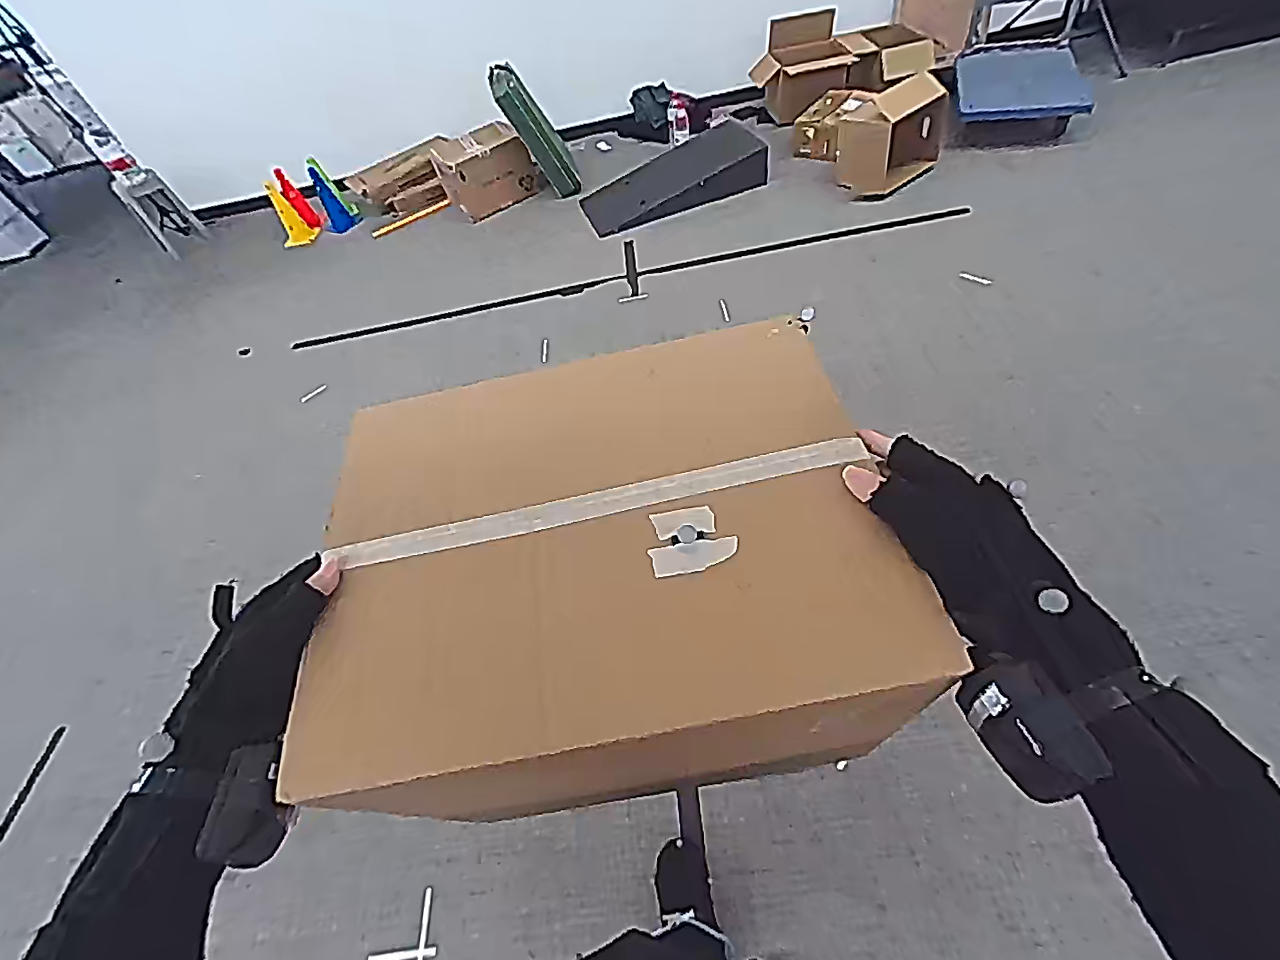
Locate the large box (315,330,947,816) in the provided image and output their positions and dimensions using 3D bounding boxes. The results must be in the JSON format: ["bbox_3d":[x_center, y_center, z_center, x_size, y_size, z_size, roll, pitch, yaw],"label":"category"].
[{"bbox_3d":[-0.011,0.109,0.532,0.408,0.320,0.320,-12,55,2],"label":"large box"}]
